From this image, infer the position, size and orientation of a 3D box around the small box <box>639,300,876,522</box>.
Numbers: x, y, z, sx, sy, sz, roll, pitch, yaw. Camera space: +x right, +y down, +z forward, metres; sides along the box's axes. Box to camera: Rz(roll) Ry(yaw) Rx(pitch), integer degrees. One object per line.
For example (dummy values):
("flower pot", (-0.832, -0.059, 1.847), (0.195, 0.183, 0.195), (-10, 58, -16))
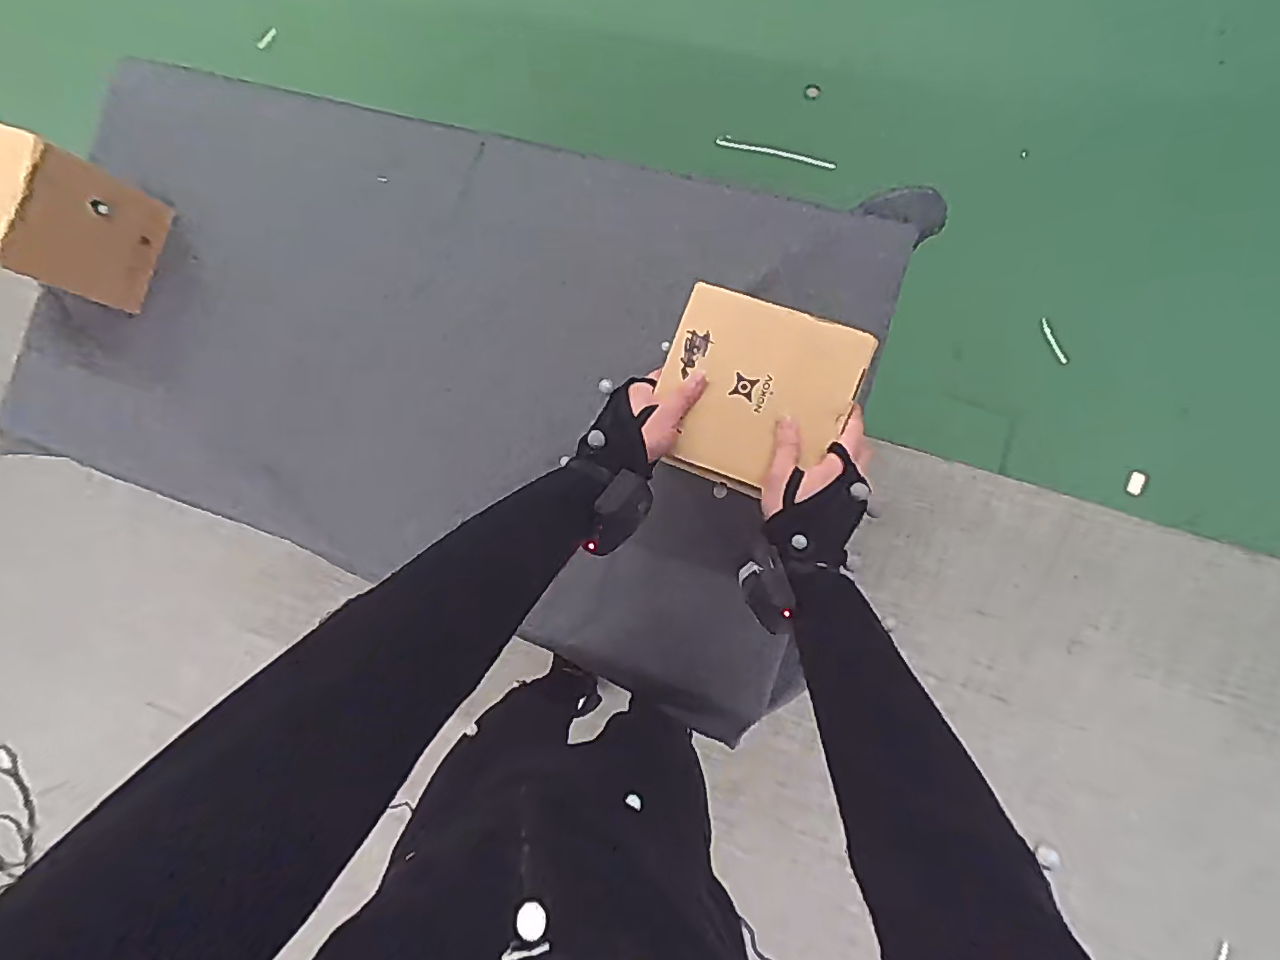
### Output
("small box", (0.119, -0.064, 0.584), (0.179, 0.176, 0.168), (21, 90, 10))

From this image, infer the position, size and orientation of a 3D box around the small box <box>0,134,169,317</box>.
("small box", (-0.806, -0.342, 0.732), (0.179, 0.176, 0.168), (21, 87, 9))
